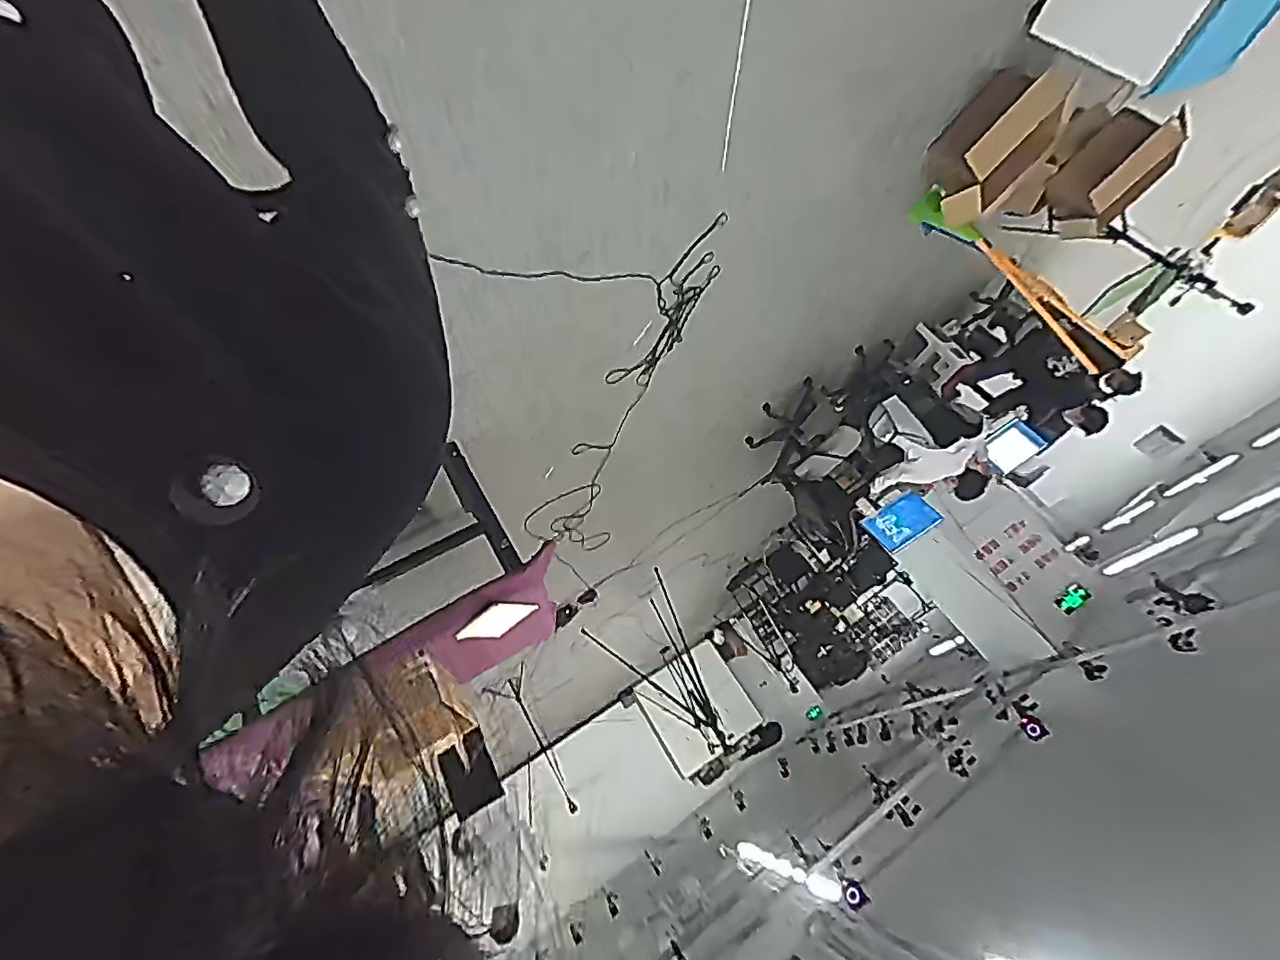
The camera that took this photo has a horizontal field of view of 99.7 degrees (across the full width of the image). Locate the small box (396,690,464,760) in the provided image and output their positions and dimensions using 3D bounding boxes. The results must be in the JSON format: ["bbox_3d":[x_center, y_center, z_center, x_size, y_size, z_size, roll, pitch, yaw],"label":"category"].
[{"bbox_3d":[-0.784,0.910,2.018,0.168,0.176,0.179,-27,153,-19],"label":"small box"}]
